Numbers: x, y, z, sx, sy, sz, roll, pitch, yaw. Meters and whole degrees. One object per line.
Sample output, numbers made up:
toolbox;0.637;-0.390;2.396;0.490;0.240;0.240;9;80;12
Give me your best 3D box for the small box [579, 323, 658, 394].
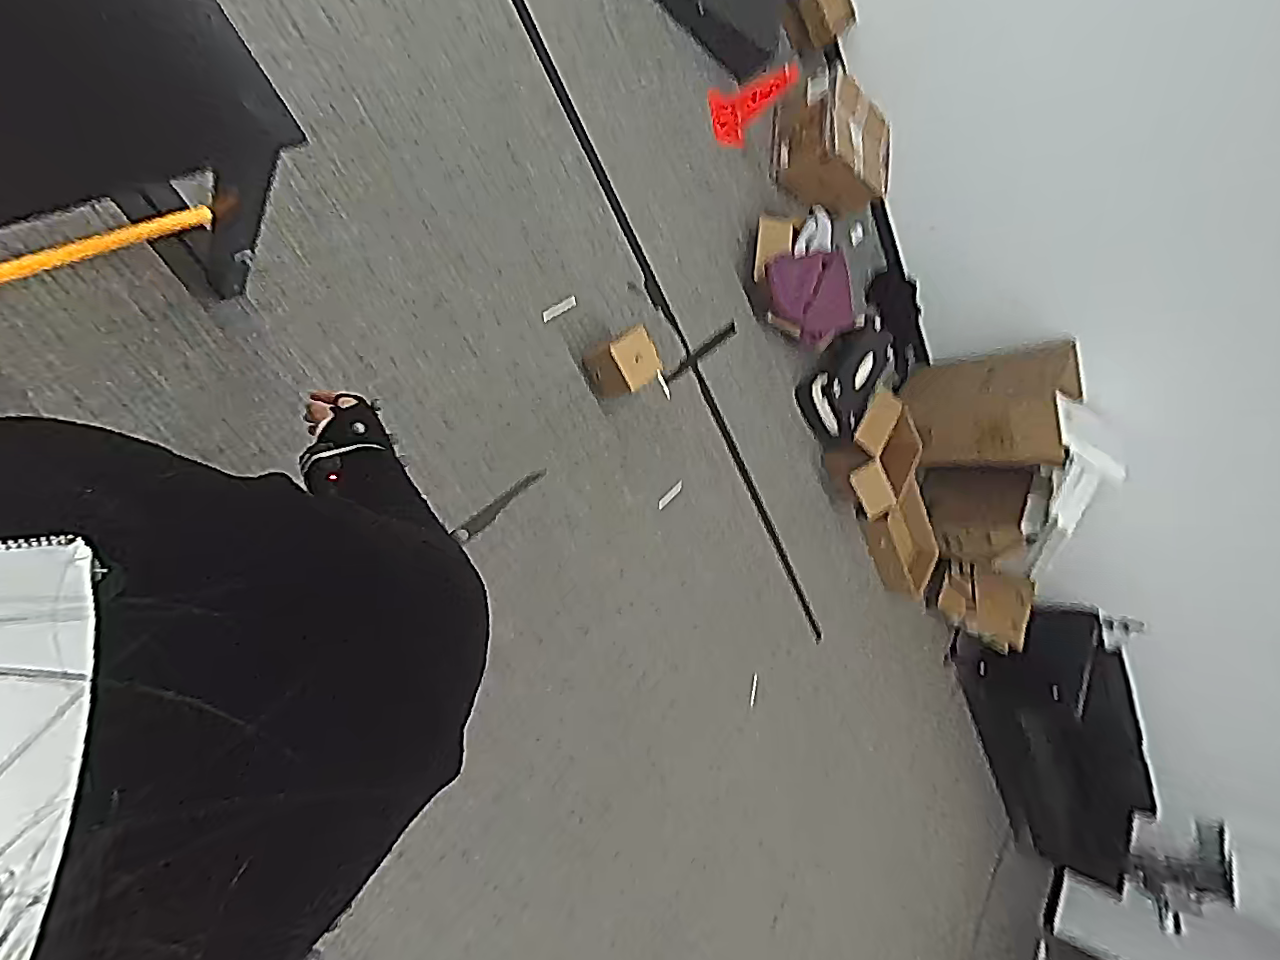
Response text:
small box;-0.076;-0.413;1.852;0.179;0.176;0.168;-44;115;-31
